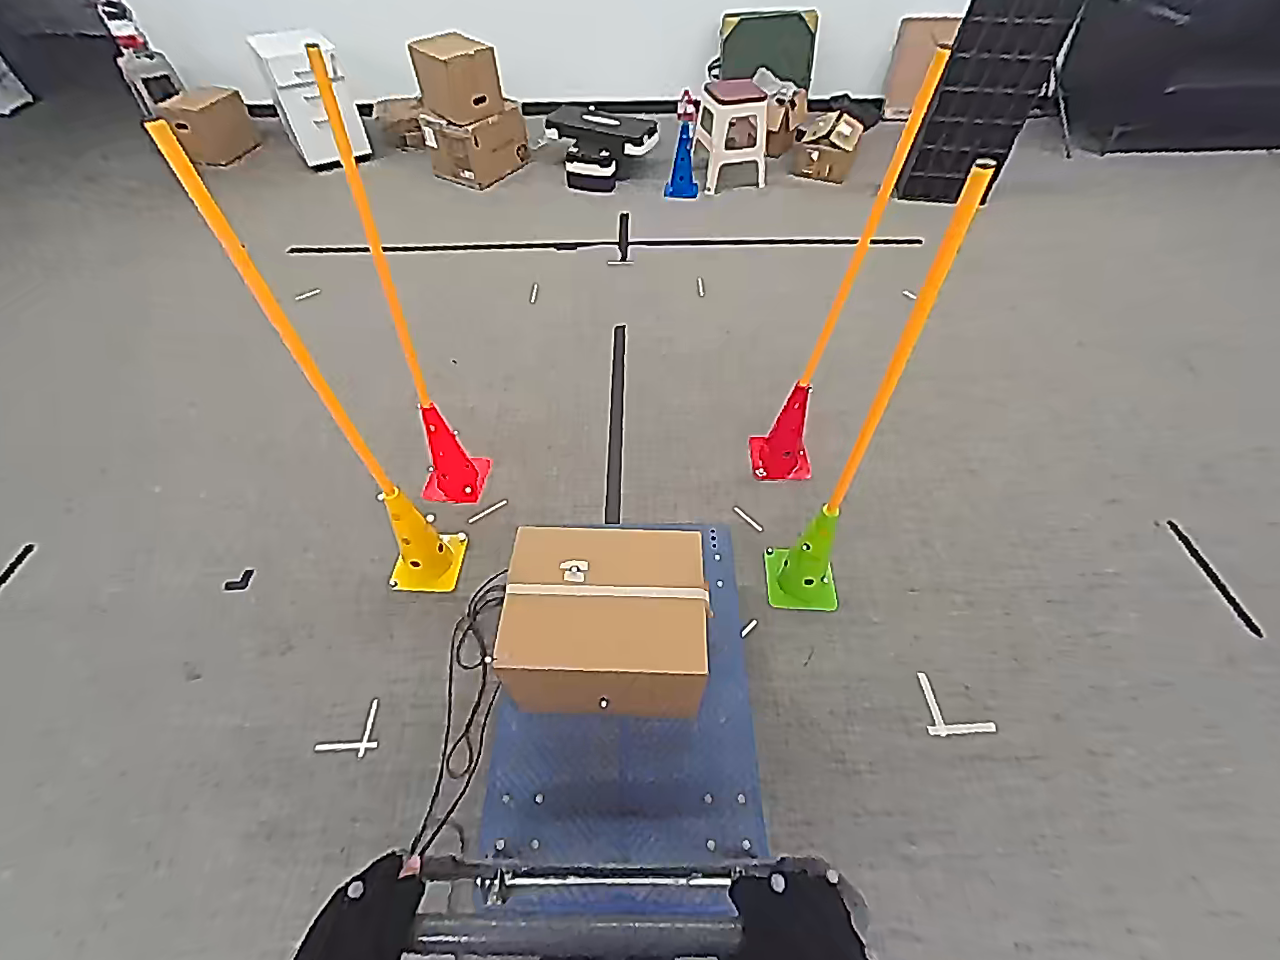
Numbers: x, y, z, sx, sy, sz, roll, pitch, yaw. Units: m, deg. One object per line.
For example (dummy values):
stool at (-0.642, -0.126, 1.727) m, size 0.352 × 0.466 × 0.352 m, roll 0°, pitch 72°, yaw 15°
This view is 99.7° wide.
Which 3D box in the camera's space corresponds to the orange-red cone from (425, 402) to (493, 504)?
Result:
orange-red cone at (-0.627, -0.112, 1.754) m, size 0.198 × 0.360 × 0.199 m, roll 6°, pitch 50°, yaw 4°

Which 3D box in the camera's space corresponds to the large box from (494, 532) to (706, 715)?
large box at (-0.068, 0.328, 1.214) m, size 0.408 × 0.320 × 0.320 m, roll 1°, pitch 51°, yaw 2°

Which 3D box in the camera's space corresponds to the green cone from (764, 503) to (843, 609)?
green cone at (0.485, 0.188, 1.506) m, size 0.202 × 0.368 × 0.200 m, roll 3°, pitch 51°, yaw 1°

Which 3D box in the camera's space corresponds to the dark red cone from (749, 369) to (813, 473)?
dark red cone at (0.502, -0.202, 1.795) m, size 0.201 × 0.394 × 0.202 m, roll 1°, pitch 52°, yaw -2°
